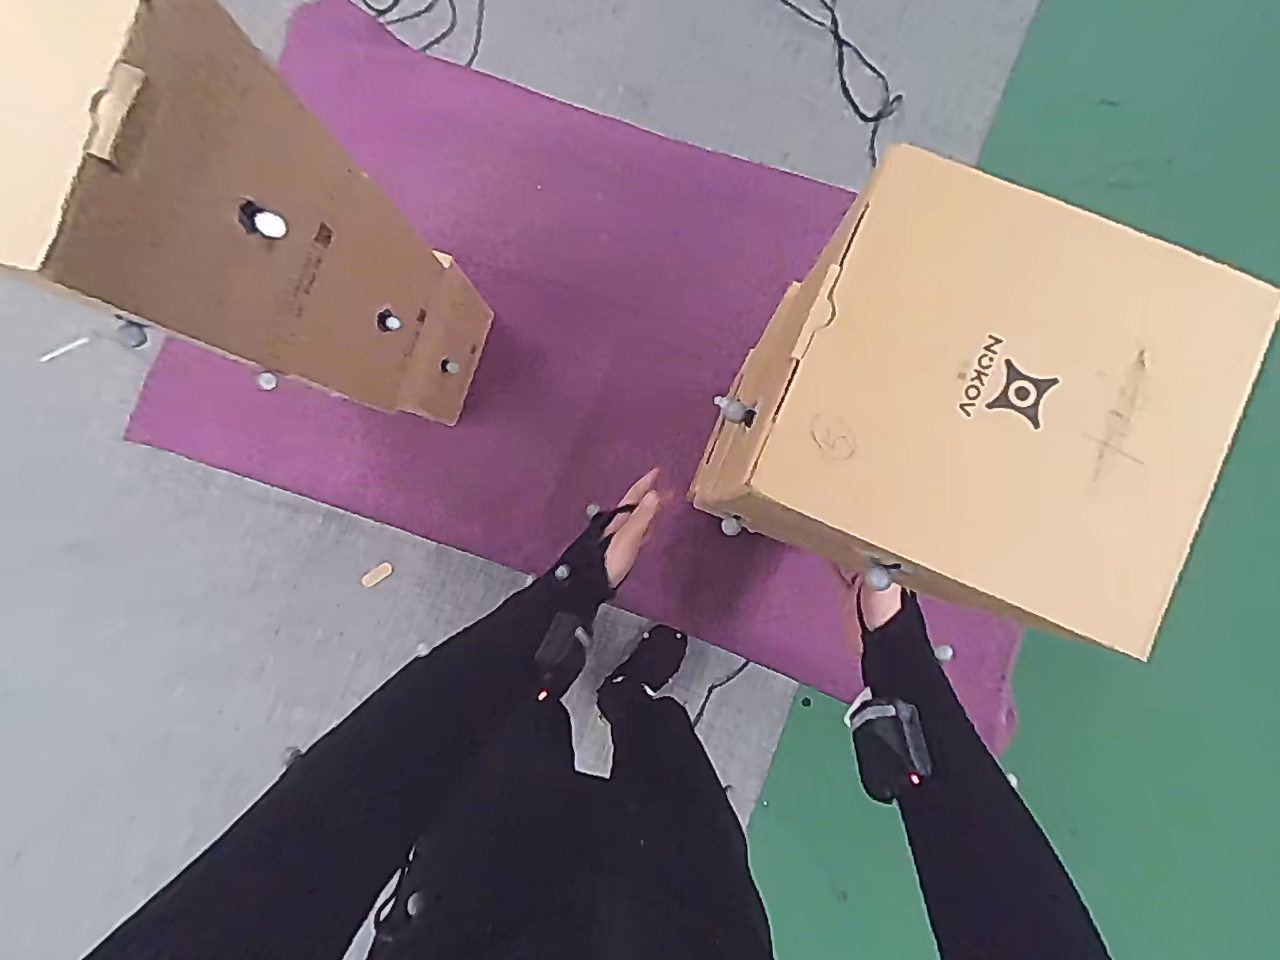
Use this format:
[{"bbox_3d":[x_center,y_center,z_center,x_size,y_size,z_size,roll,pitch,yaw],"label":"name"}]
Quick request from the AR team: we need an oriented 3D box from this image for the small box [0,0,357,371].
[{"bbox_3d":[-0.320,-0.181,0.340,0.179,0.176,0.168,18,87,3],"label":"small box"}]

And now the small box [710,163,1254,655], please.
[{"bbox_3d":[0.151,-0.029,0.309,0.179,0.176,0.168,24,88,4],"label":"small box"}]

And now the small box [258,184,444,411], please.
[{"bbox_3d":[-0.313,-0.174,0.504,0.179,0.176,0.168,19,87,4],"label":"small box"}]

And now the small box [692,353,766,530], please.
[{"bbox_3d":[0.169,-0.023,0.637,0.179,0.176,0.168,22,87,3],"label":"small box"}]

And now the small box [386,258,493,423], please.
[{"bbox_3d":[-0.304,-0.177,0.669,0.179,0.176,0.168,17,87,4],"label":"small box"}]
